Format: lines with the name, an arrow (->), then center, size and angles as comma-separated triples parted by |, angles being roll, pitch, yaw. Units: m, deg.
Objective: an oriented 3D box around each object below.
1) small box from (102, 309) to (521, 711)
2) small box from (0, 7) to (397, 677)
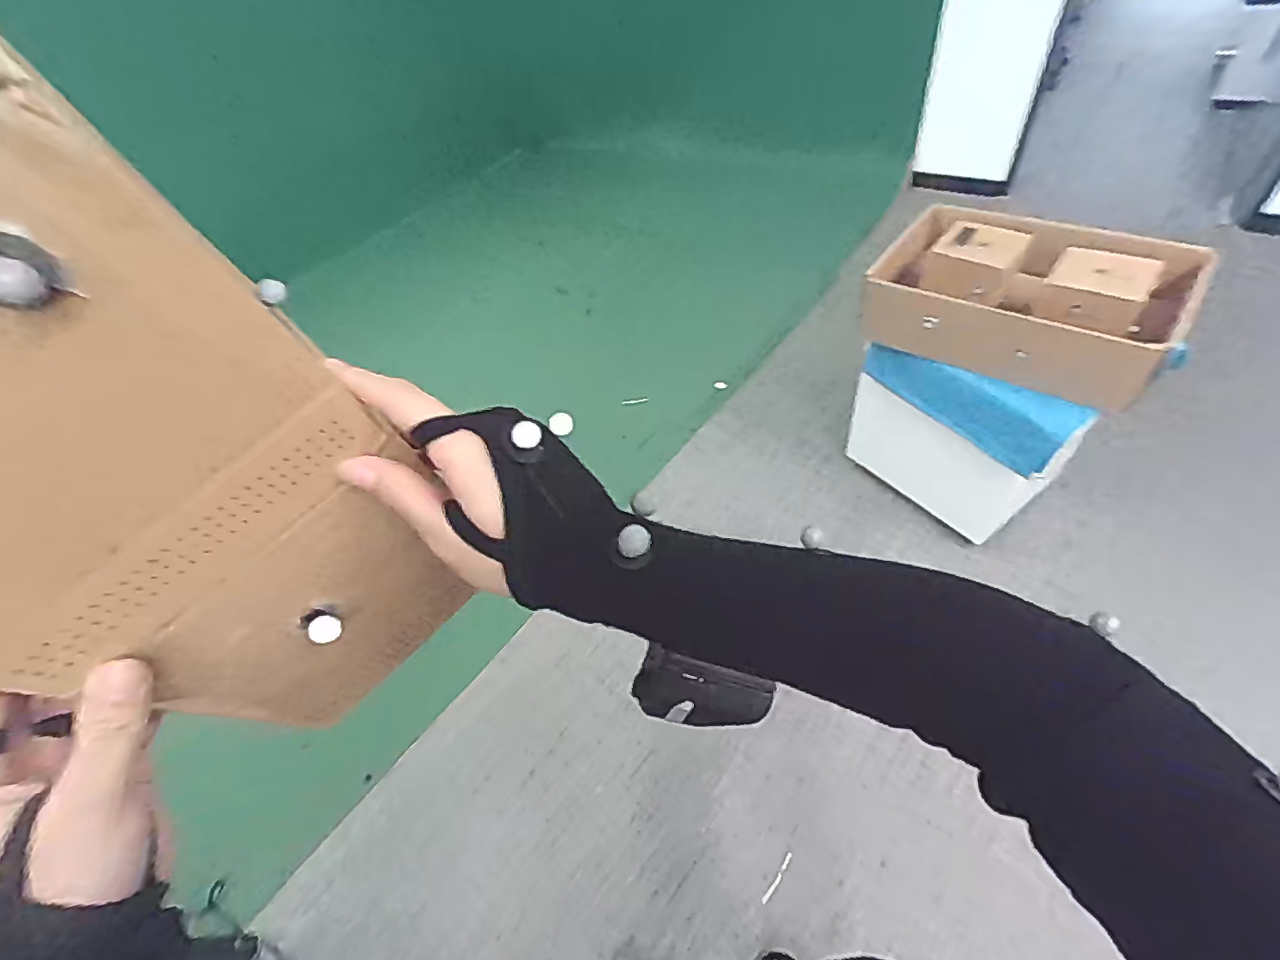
small box -> -0.213, 0.030, 0.365 | 0.179, 0.176, 0.168 | -43, 62, -12
small box -> -0.246, -0.046, 0.225 | 0.179, 0.176, 0.168 | -43, 62, -14
